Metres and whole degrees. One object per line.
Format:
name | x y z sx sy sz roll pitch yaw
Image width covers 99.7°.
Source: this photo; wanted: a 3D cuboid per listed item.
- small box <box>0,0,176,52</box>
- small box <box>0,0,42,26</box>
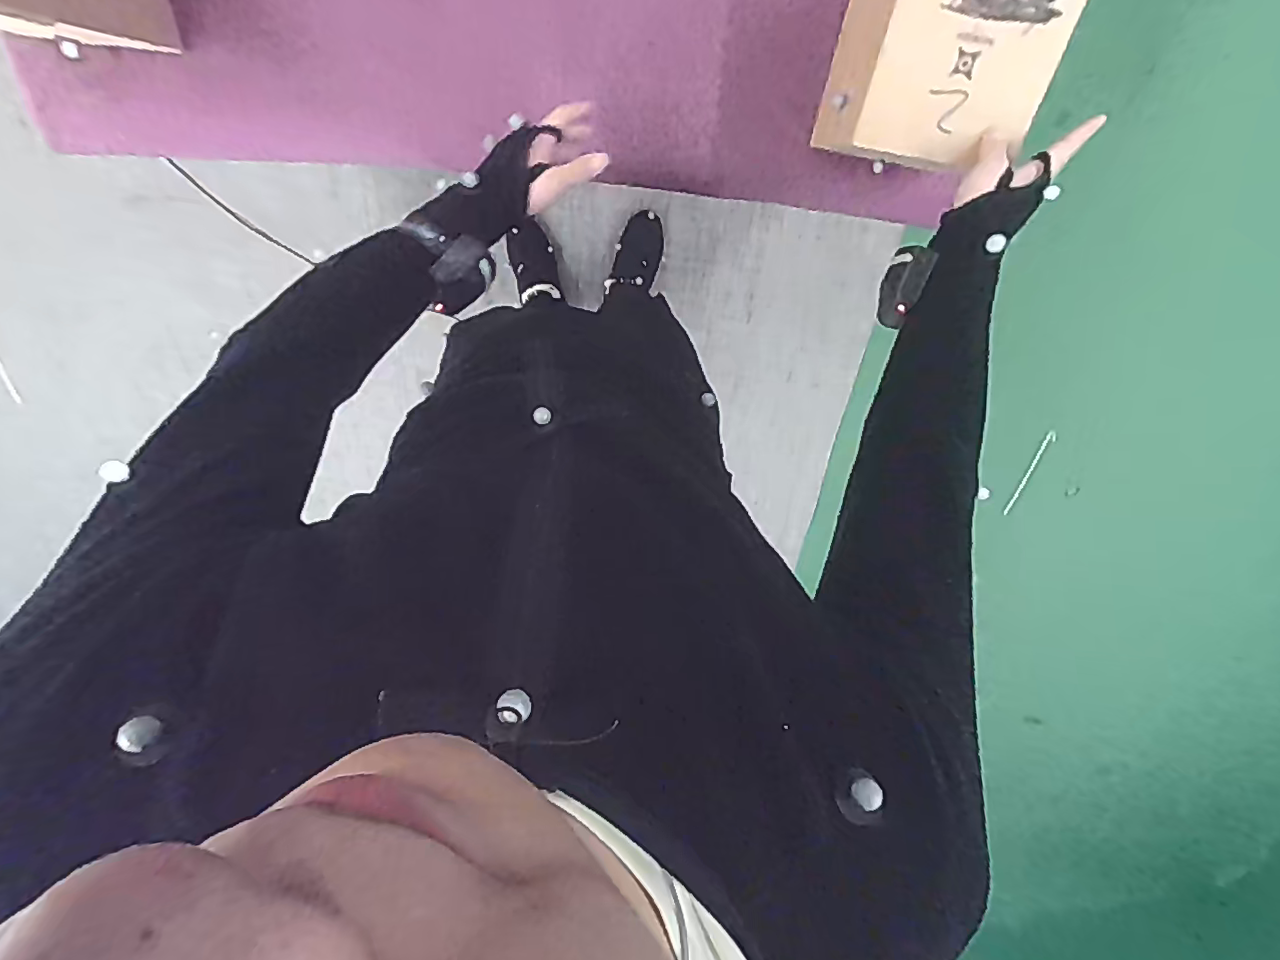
small box | -0.604 -0.537 0.511 0.168 0.176 0.179 5 121 -2
small box | -0.601 -0.448 0.375 0.168 0.176 0.179 6 119 -2
